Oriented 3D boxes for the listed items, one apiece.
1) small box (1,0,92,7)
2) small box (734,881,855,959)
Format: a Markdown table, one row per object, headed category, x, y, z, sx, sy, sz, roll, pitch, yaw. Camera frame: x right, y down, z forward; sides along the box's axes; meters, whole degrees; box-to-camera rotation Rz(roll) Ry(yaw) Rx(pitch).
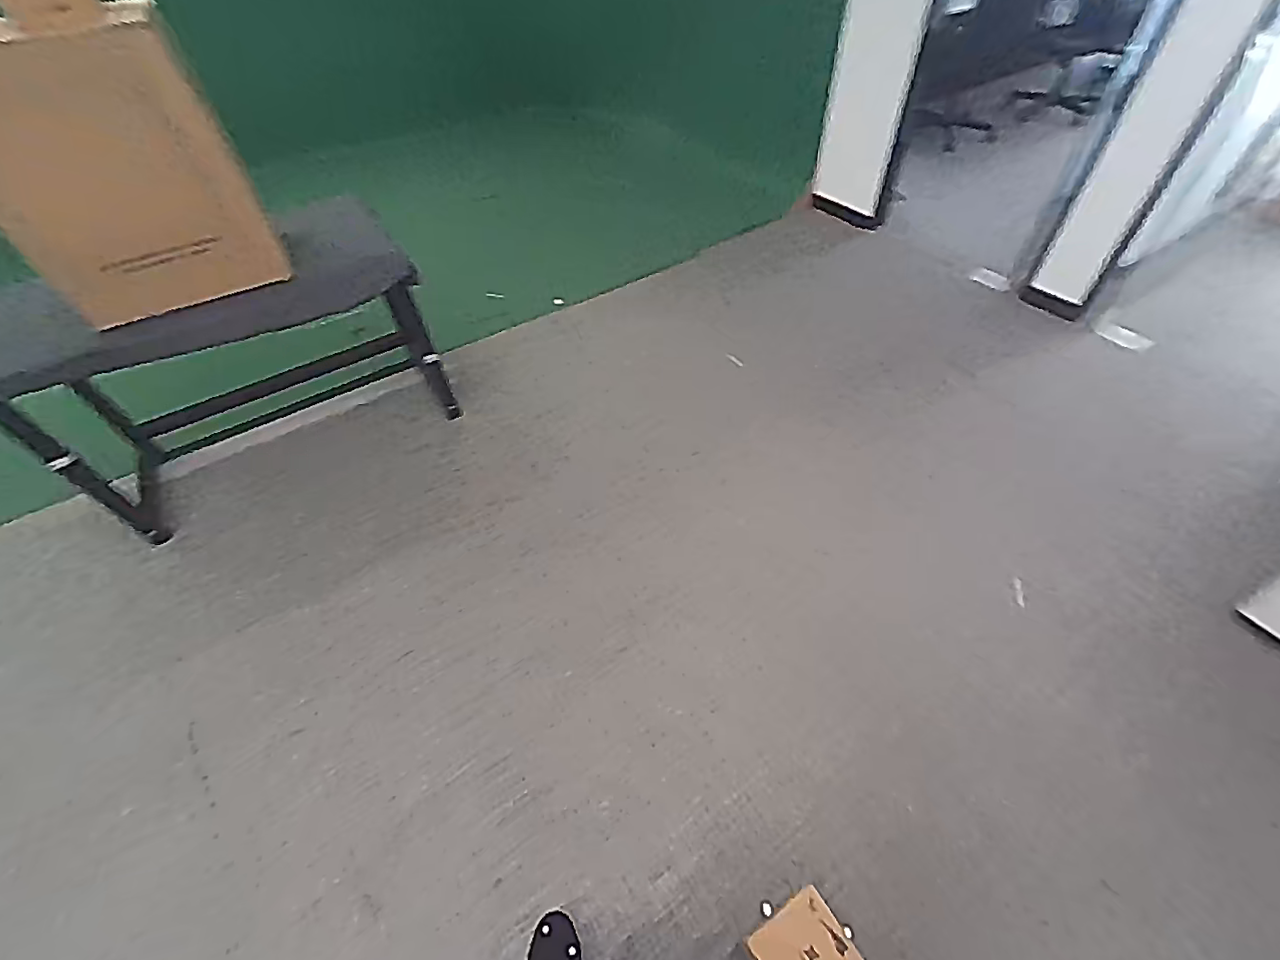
| category | x | y | z | sx | sy | sz | roll | pitch | yaw |
| --- | --- | --- | --- | --- | --- | --- | --- | --- | --- |
| small box | -1.301 | -1.120 | 1.137 | 0.168 | 0.176 | 0.179 | -27 | 56 | -22 |
| small box | 0.311 | 0.984 | 1.125 | 0.179 | 0.176 | 0.168 | -28 | 54 | -21 |
